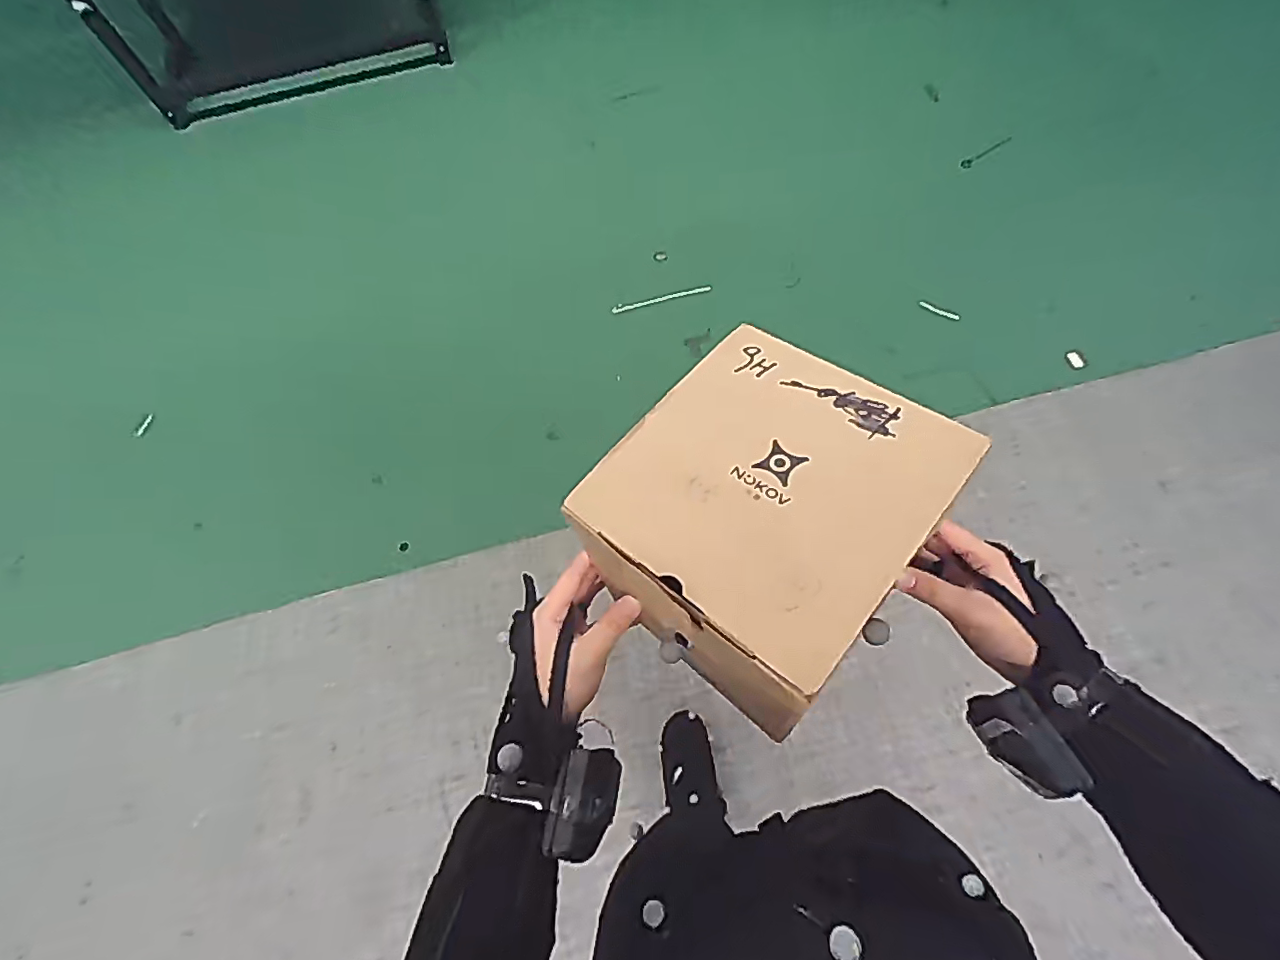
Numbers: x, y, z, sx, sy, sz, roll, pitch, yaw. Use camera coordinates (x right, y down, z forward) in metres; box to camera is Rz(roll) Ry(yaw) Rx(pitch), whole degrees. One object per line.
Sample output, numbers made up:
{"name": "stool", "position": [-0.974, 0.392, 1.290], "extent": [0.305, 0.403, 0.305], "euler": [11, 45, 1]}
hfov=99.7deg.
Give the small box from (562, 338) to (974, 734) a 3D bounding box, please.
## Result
{"name": "small box", "position": [0.081, 0.045, 0.371], "extent": [0.168, 0.176, 0.179], "euler": [35, 71, 27]}
